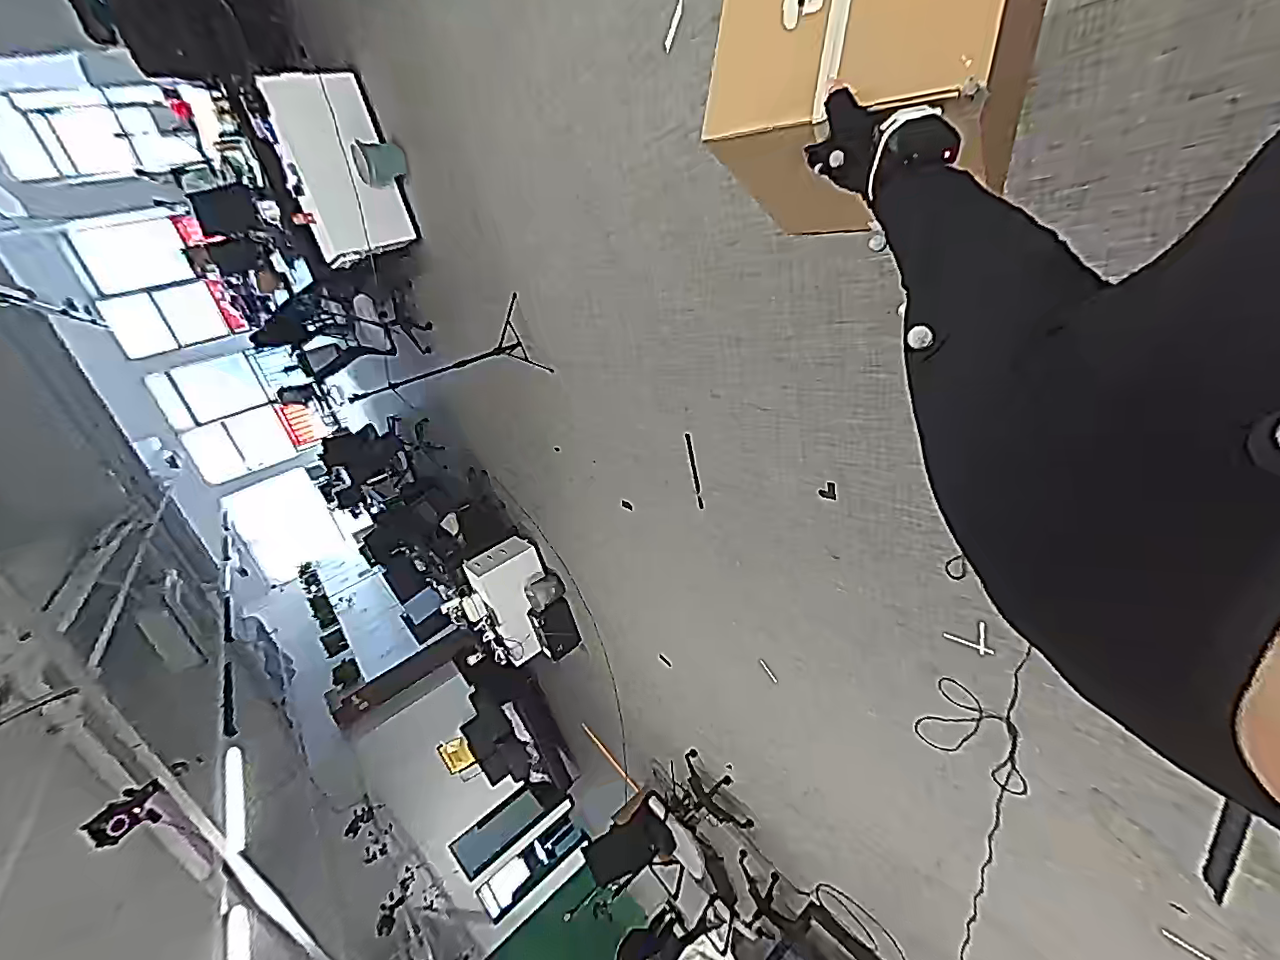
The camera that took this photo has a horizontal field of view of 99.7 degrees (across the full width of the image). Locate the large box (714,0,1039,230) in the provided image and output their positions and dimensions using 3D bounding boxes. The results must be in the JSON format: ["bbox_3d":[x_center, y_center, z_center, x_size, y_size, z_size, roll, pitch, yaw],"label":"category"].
[{"bbox_3d":[0.331,-0.603,0.719,0.320,0.320,0.408,14,98,36],"label":"large box"}]
